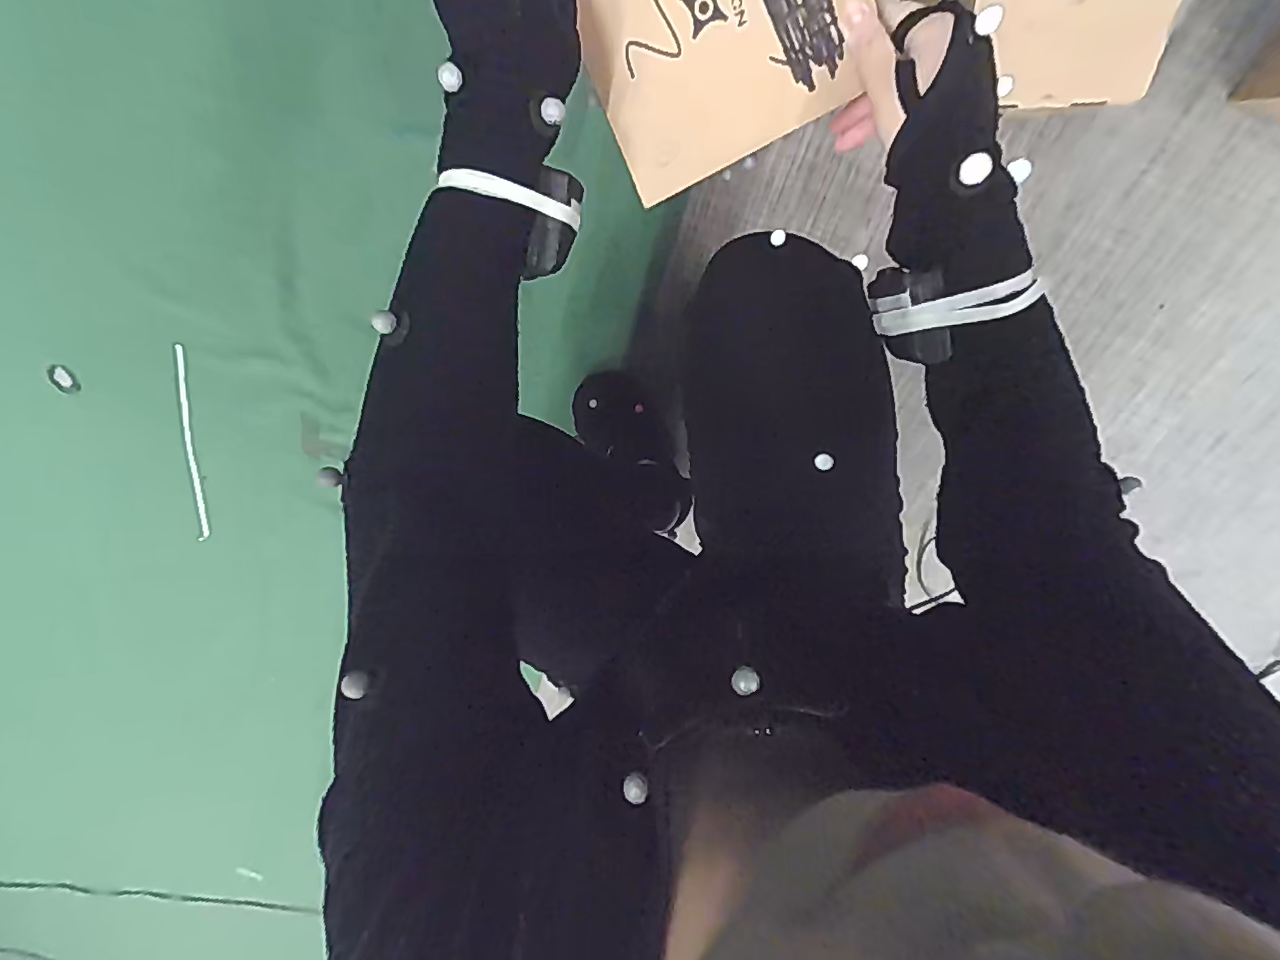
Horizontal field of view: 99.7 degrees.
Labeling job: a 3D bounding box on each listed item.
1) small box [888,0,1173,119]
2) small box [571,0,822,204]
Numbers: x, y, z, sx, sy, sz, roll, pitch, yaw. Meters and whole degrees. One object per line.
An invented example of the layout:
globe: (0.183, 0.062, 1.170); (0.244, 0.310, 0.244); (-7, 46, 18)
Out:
small box: (0.351, -0.440, 0.500); (0.168, 0.176, 0.179); (1, 122, 2)
small box: (0.056, -0.401, 0.539); (0.179, 0.176, 0.168); (-23, 117, 15)
